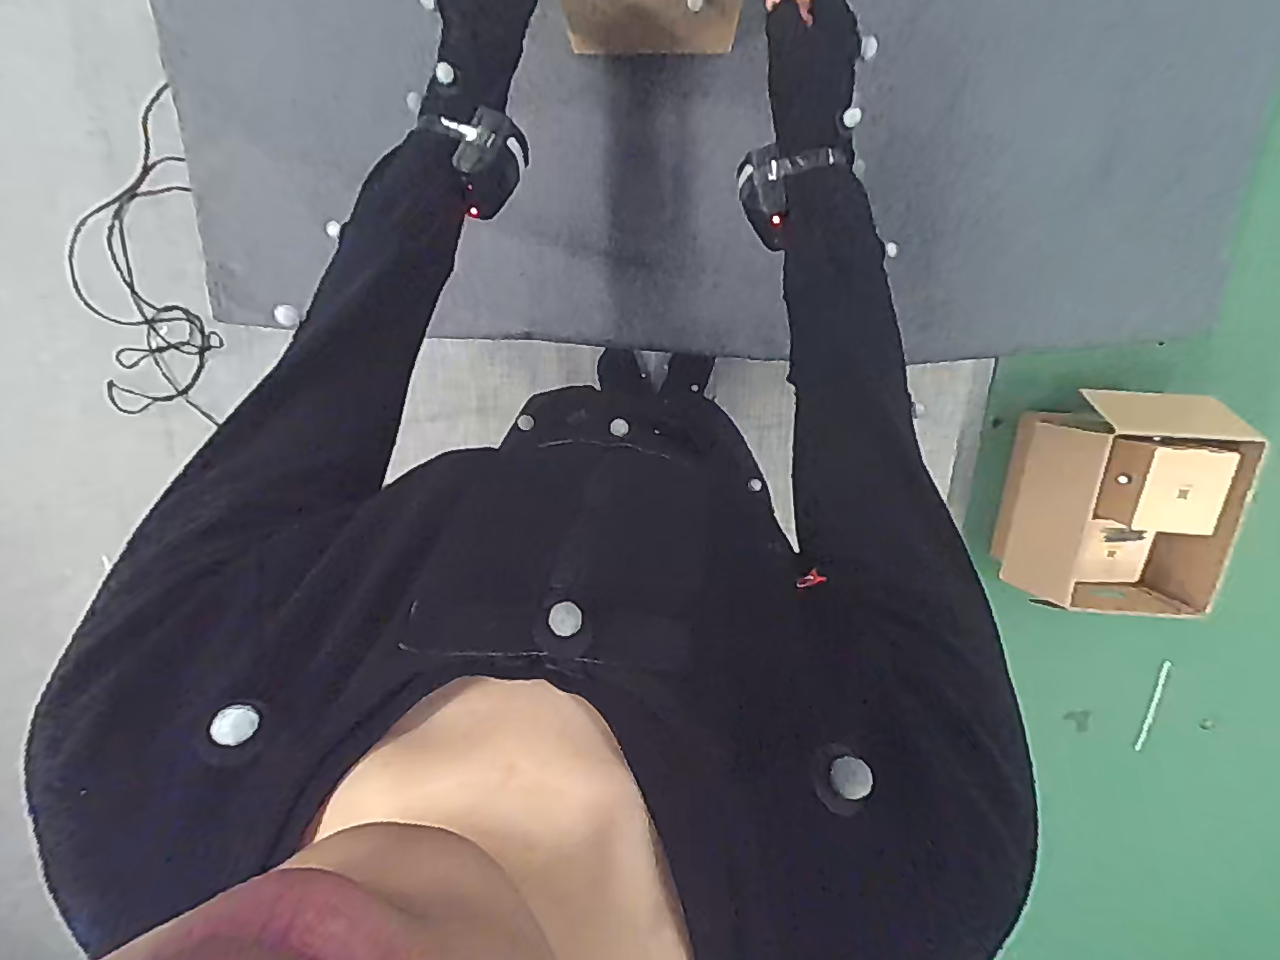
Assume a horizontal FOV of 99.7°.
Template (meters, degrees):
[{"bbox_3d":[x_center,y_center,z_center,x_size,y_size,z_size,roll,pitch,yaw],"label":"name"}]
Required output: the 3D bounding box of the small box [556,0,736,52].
[{"bbox_3d":[0.008,-0.526,0.495,0.179,0.176,0.168,1,106,3],"label":"small box"}]
